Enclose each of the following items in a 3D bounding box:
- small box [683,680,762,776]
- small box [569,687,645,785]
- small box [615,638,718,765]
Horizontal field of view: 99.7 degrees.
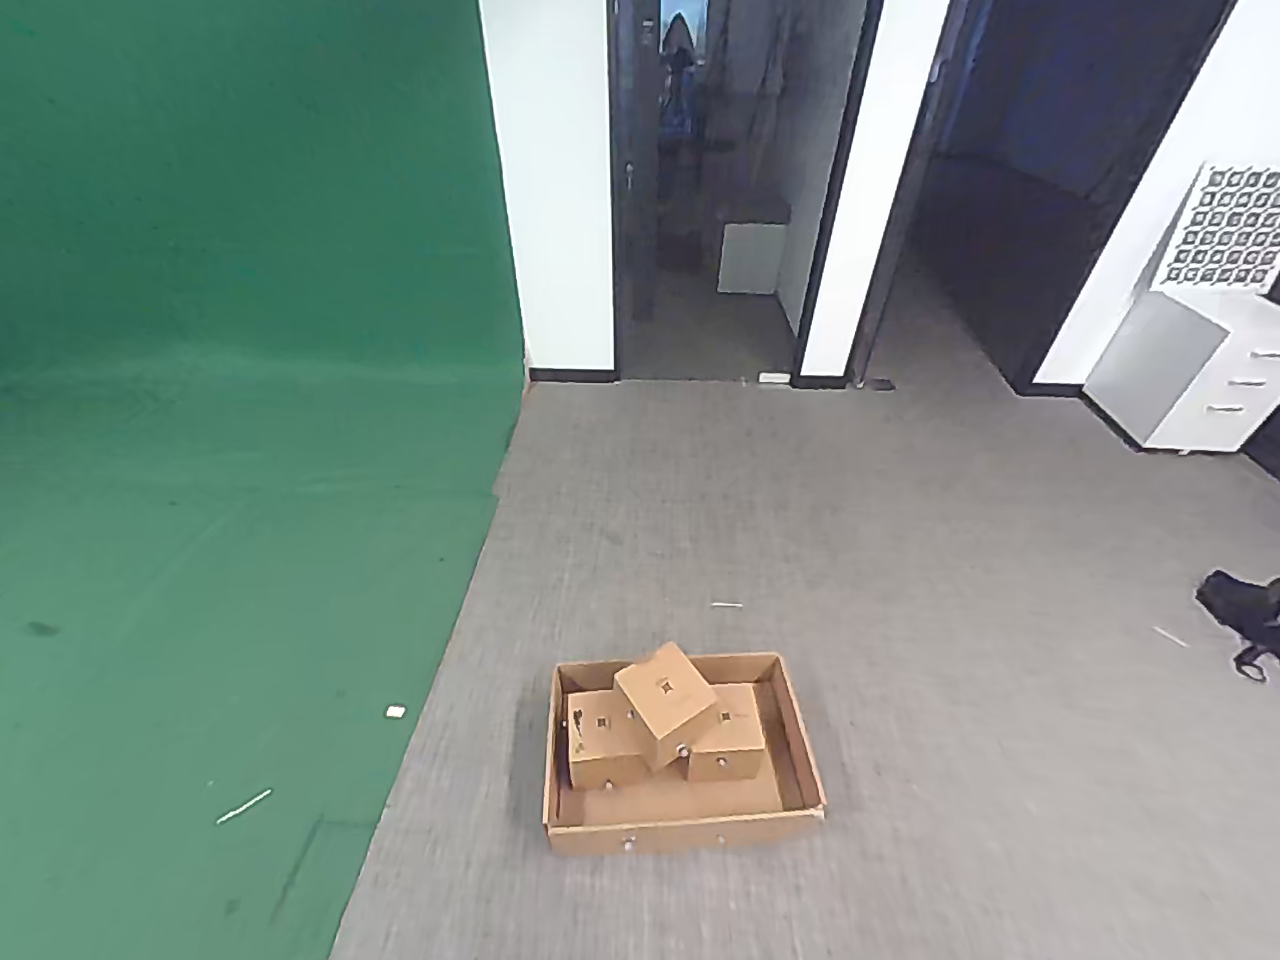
[{"bbox_3d":[0.195,0.623,1.355,0.179,0.176,0.168,-2,41,-2],"label":"small box"},{"bbox_3d":[-0.086,0.632,1.338,0.179,0.176,0.168,-2,39,-7],"label":"small box"},{"bbox_3d":[0.053,0.508,1.240,0.168,0.176,0.179,-23,47,-26],"label":"small box"}]
